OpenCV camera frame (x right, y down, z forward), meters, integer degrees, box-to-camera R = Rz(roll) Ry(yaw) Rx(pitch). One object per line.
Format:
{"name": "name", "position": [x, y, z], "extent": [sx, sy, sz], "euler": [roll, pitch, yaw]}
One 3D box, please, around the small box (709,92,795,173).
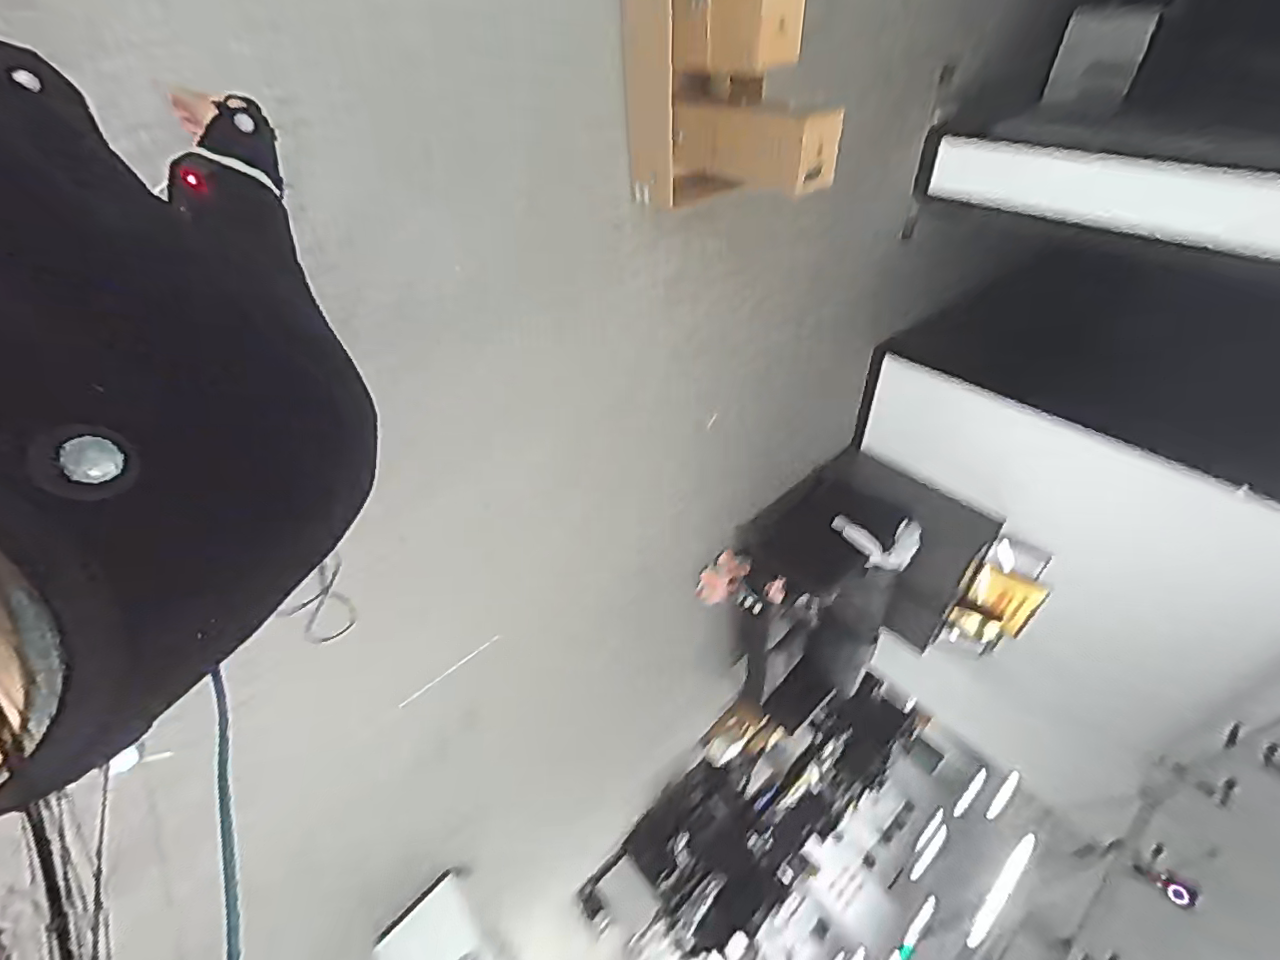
{"name": "small box", "position": [0.312, -0.996, 1.545], "extent": [0.179, 0.176, 0.168], "euler": [-31, 138, -26]}

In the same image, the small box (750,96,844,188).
{"name": "small box", "position": [0.413, -0.909, 1.449], "extent": [0.168, 0.176, 0.179], "euler": [-31, 138, -26]}

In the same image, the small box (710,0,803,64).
{"name": "small box", "position": [0.291, -1.180, 1.370], "extent": [0.168, 0.176, 0.179], "euler": [-33, 141, -24]}
